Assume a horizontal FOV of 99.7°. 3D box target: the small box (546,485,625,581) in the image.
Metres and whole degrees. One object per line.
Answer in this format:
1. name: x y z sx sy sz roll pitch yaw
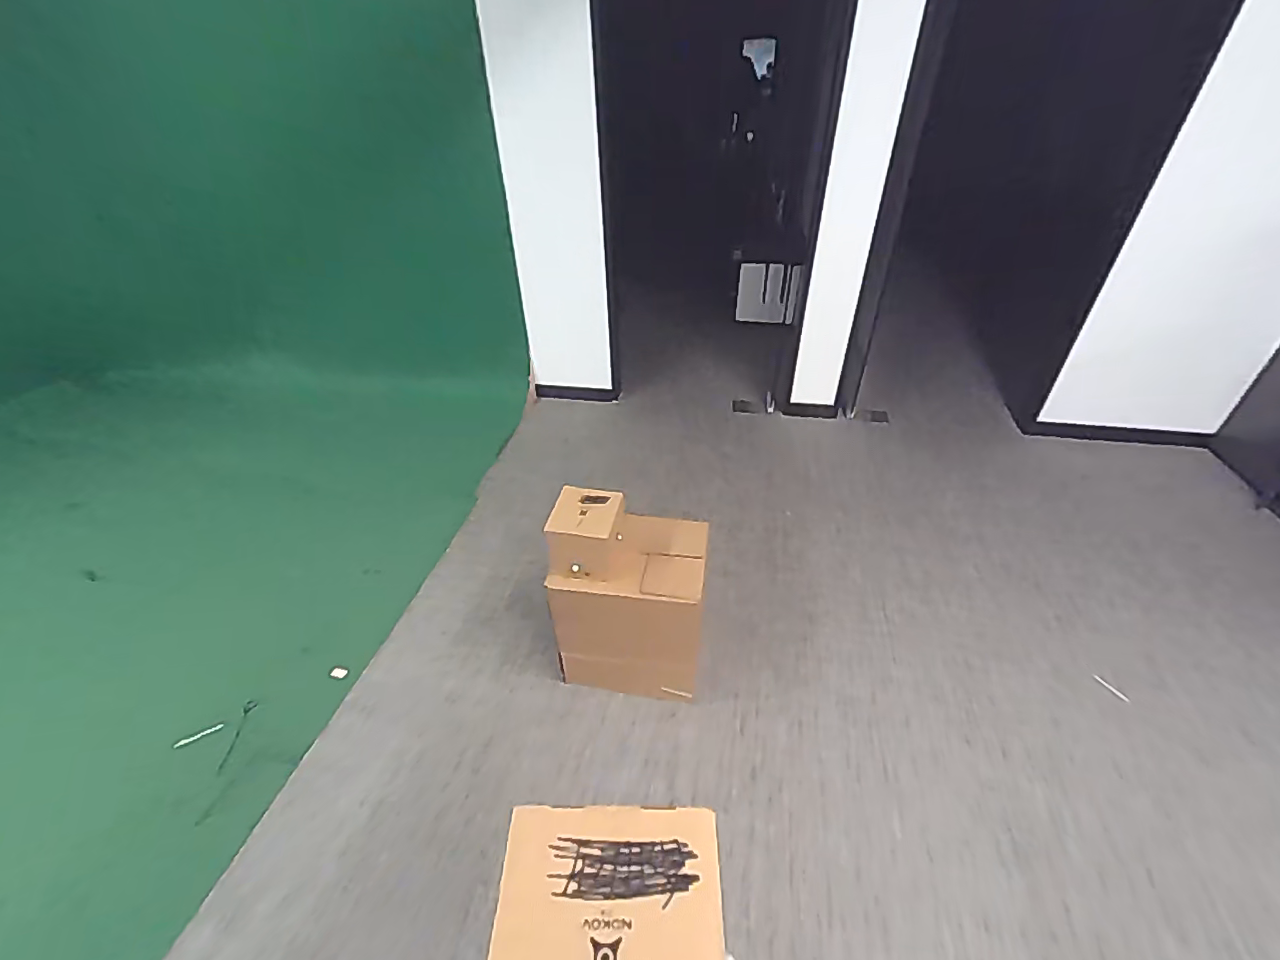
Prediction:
1. small box: -0.137 0.140 1.435 0.168 0.176 0.179 7 41 9
